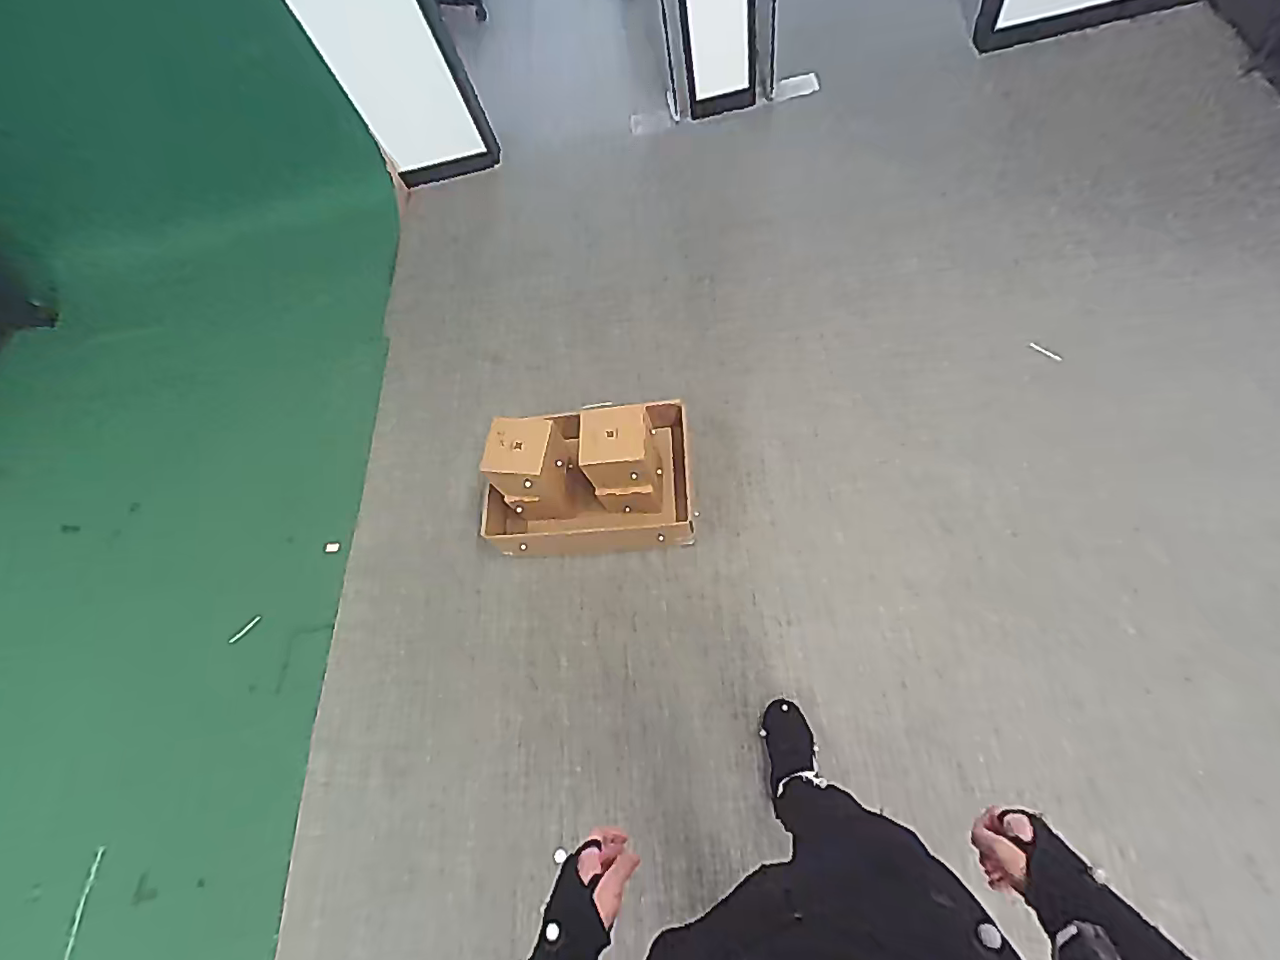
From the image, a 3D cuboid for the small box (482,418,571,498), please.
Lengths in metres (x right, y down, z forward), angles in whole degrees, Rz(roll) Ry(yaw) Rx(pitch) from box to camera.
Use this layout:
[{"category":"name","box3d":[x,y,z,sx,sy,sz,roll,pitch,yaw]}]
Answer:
[{"category":"small box","box3d":[-0.307,-0.058,1.509,0.179,0.176,0.168,4,66,13]}]
